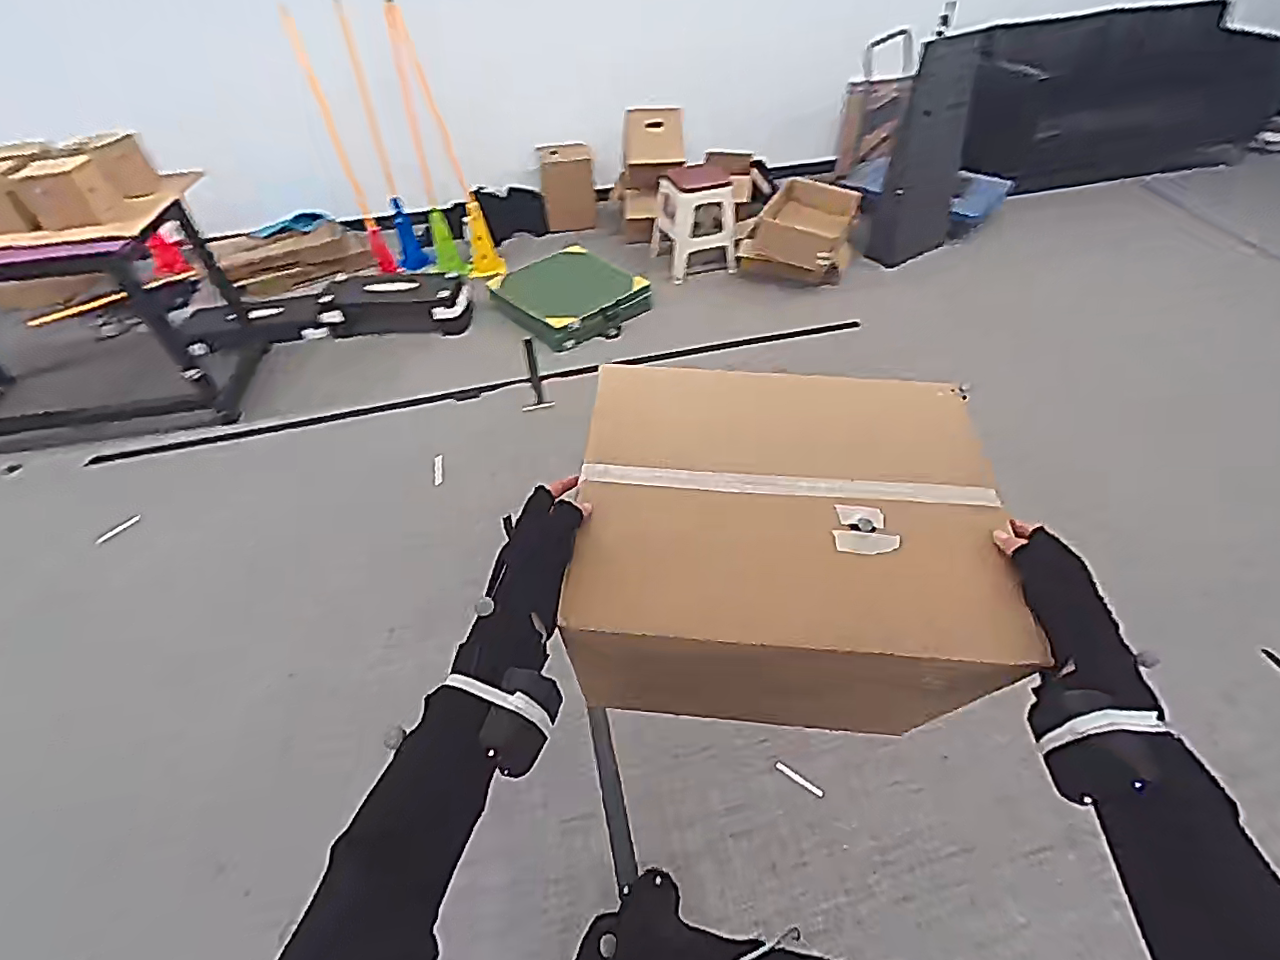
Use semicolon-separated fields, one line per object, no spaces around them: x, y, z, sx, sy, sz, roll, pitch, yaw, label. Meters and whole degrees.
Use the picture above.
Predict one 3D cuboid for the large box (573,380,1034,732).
0.147;0.103;0.668;0.408;0.320;0.320;5;56;3;large box
